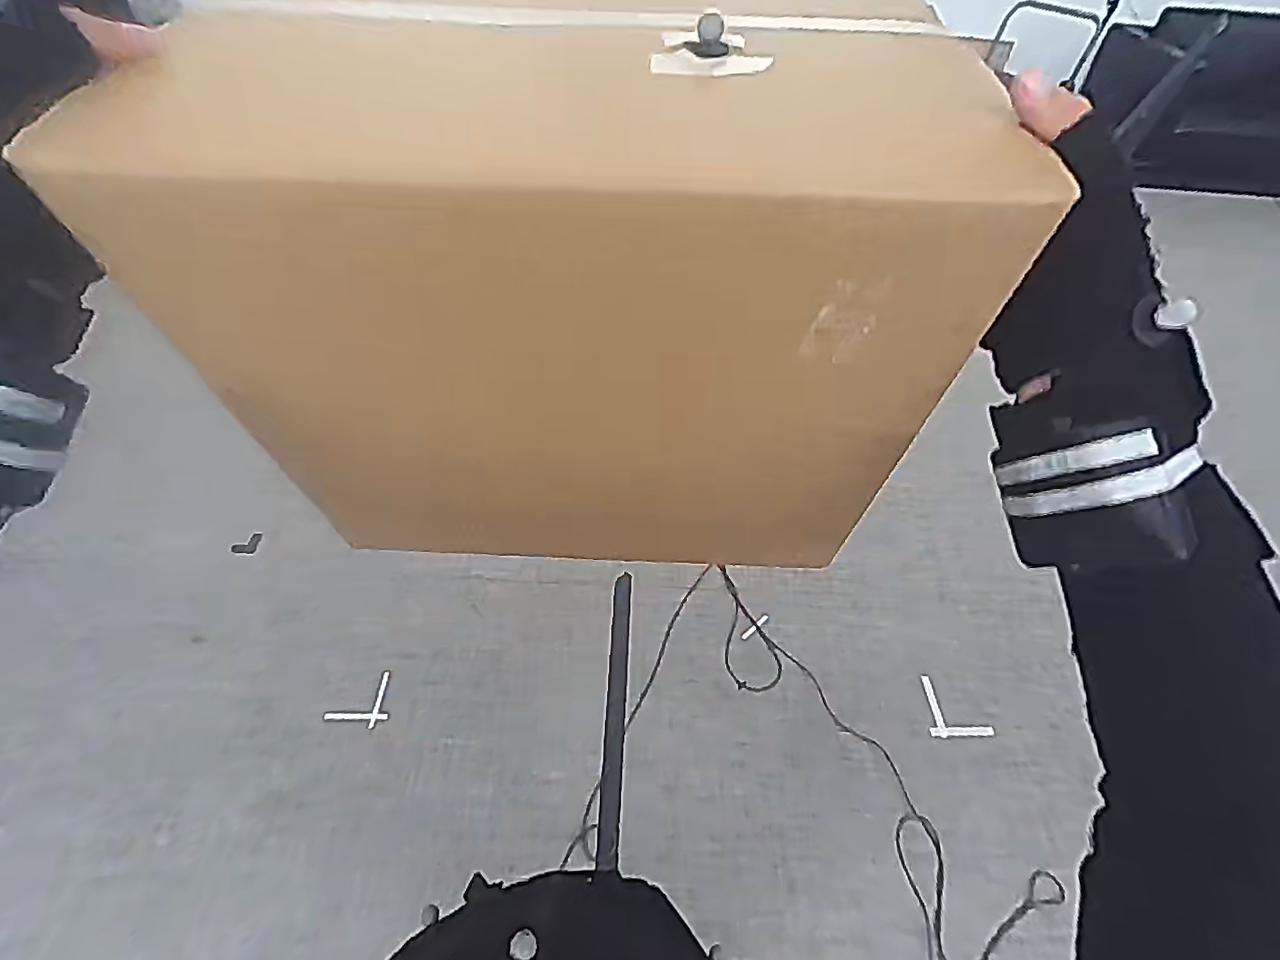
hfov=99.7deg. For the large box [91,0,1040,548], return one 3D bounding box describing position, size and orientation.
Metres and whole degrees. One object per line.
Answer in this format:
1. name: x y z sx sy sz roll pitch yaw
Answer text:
1. large box: -0.032 -0.154 0.430 0.408 0.320 0.320 2 54 -1
